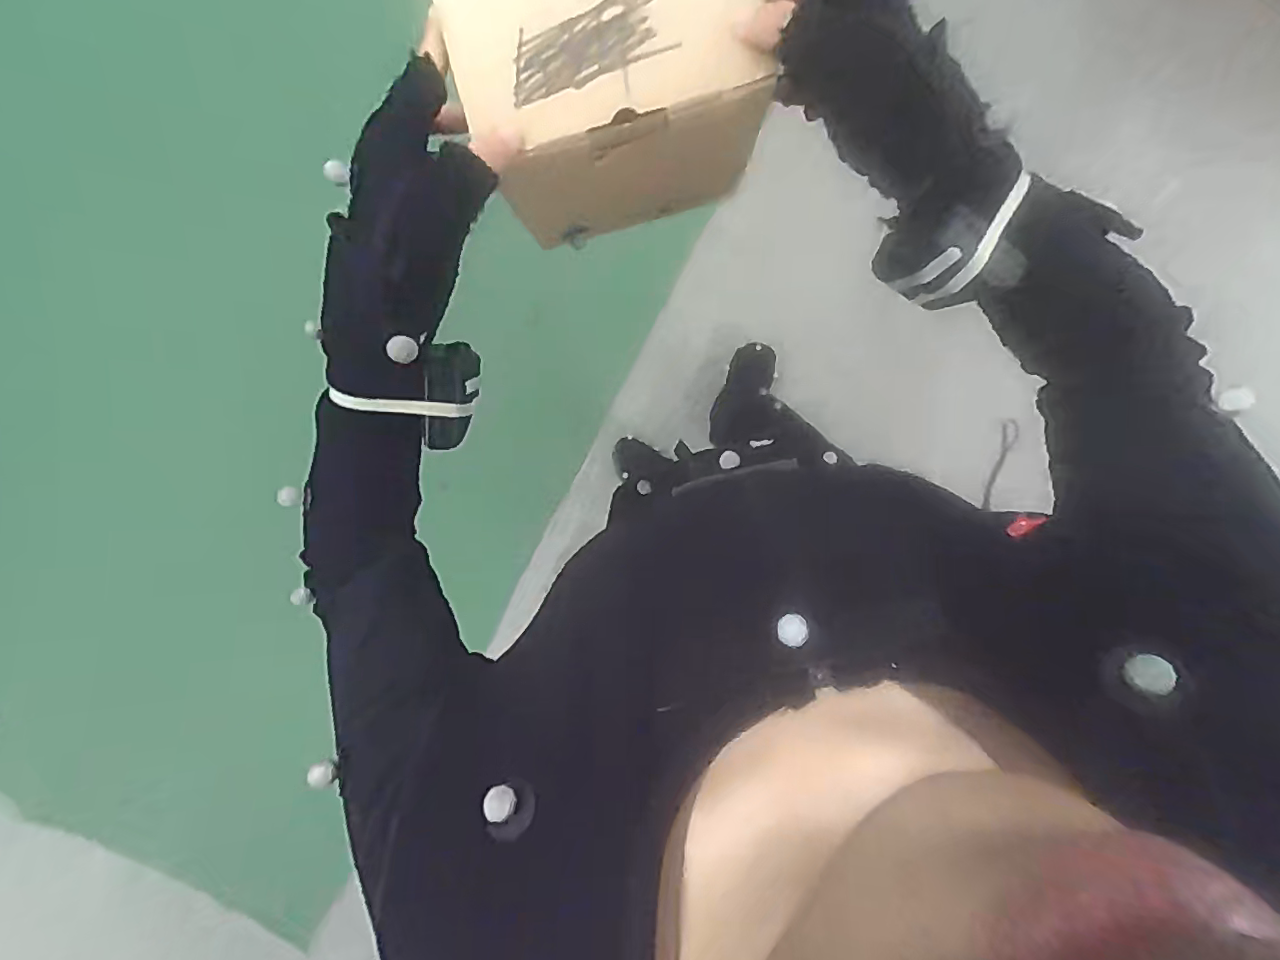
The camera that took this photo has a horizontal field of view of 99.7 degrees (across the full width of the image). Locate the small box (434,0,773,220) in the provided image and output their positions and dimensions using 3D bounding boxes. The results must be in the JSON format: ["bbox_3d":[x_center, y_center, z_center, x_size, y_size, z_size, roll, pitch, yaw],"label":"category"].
[{"bbox_3d":[-0.025,-0.289,0.347,0.168,0.176,0.179,-14,98,4],"label":"small box"}]
